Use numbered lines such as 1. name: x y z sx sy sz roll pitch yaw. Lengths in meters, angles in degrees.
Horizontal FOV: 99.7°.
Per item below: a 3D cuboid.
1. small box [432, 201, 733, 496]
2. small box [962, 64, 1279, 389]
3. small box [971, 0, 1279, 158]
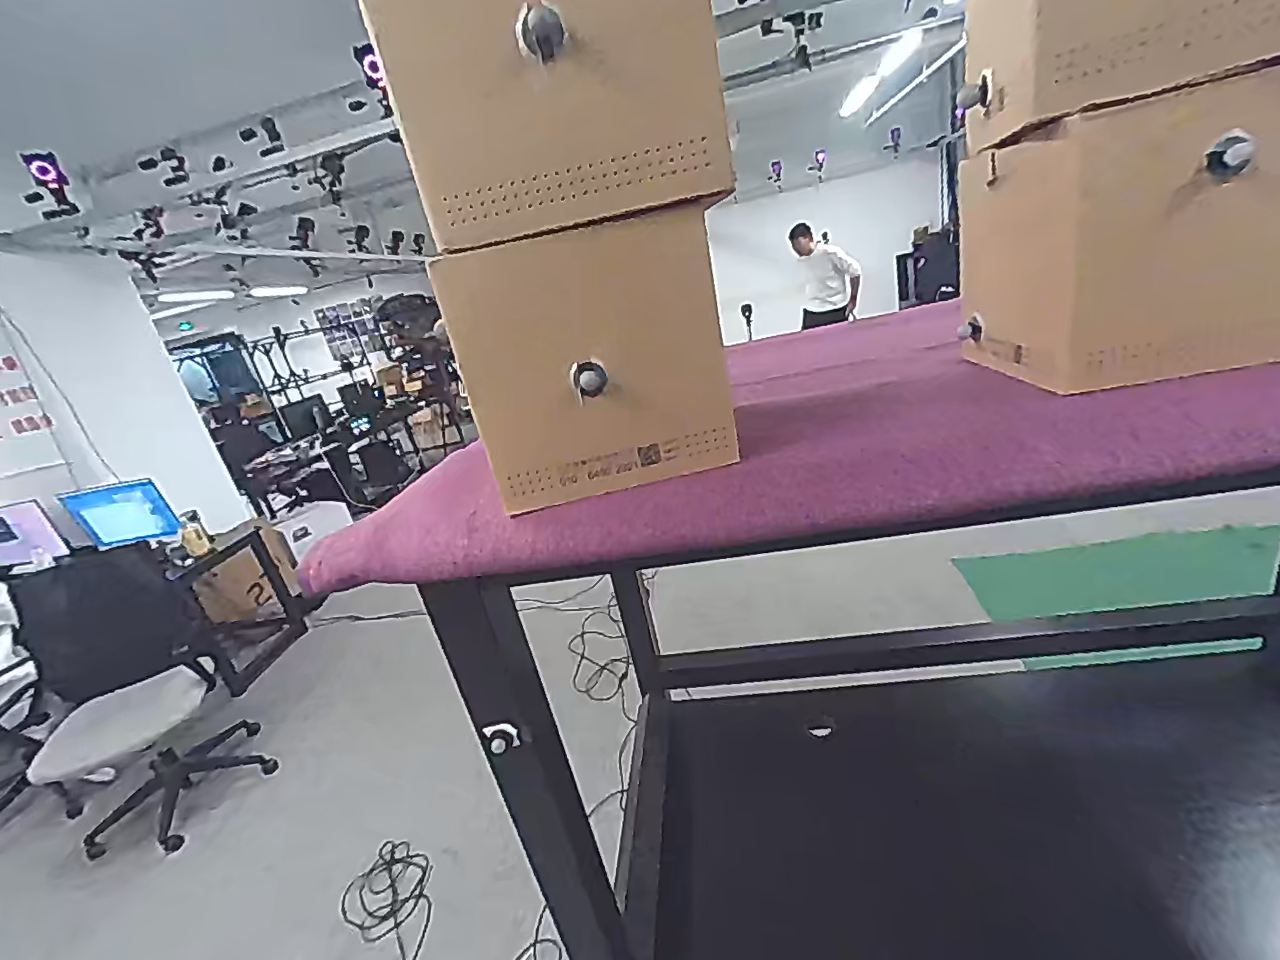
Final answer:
1. small box: -0.034 -0.097 0.418 0.168 0.176 0.179 -12 20 -2
2. small box: 0.356 -0.170 0.385 0.179 0.176 0.168 -8 21 11
3. small box: 0.318 -0.318 0.330 0.179 0.176 0.168 -6 20 21
